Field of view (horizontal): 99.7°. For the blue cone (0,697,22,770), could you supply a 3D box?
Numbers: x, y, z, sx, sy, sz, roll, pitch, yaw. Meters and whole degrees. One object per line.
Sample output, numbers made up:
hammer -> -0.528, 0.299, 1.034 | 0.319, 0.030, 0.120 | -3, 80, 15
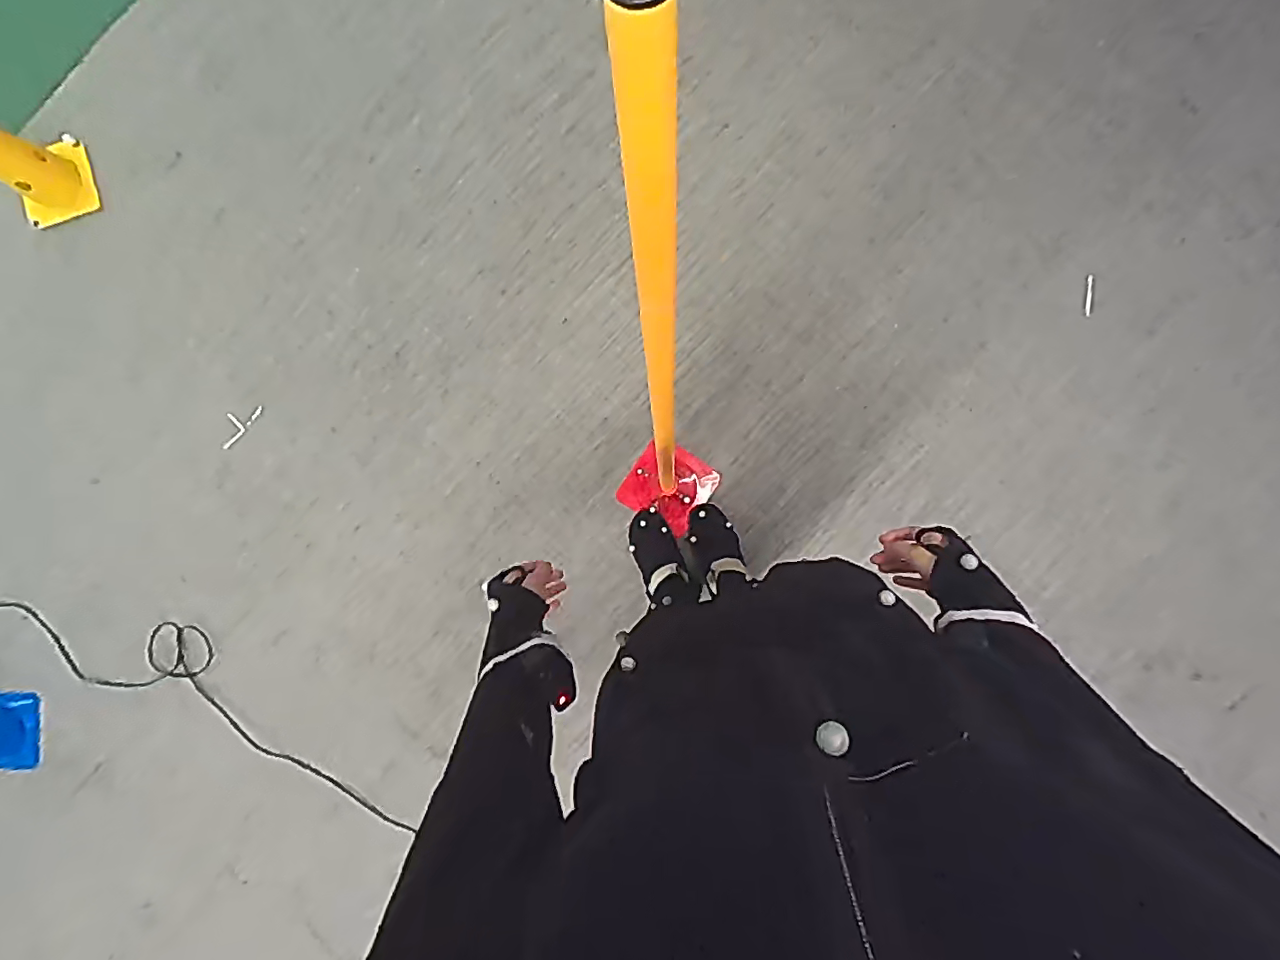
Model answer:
blue cone -> -1.670, 0.650, 1.211 | 0.192, 0.380, 0.193 | -1, 92, 1
